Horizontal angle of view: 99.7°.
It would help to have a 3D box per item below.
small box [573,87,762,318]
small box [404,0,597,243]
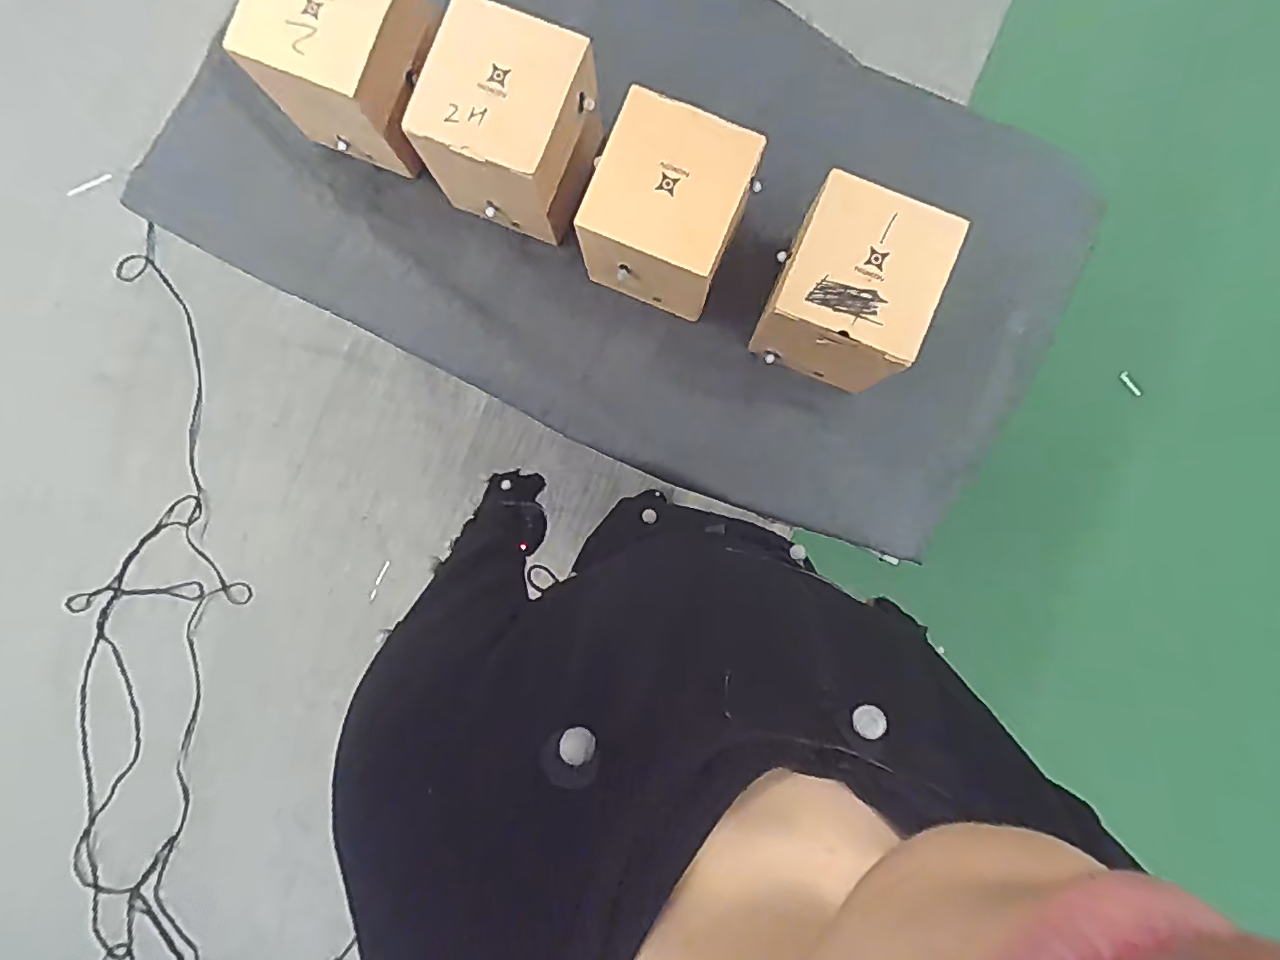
[{"bbox_3d":[0.033,-0.332,0.686,0.168,0.176,0.179,23,88,1],"label":"small box"},{"bbox_3d":[-0.161,-0.444,0.689,0.168,0.176,0.179,22,89,2],"label":"small box"}]
